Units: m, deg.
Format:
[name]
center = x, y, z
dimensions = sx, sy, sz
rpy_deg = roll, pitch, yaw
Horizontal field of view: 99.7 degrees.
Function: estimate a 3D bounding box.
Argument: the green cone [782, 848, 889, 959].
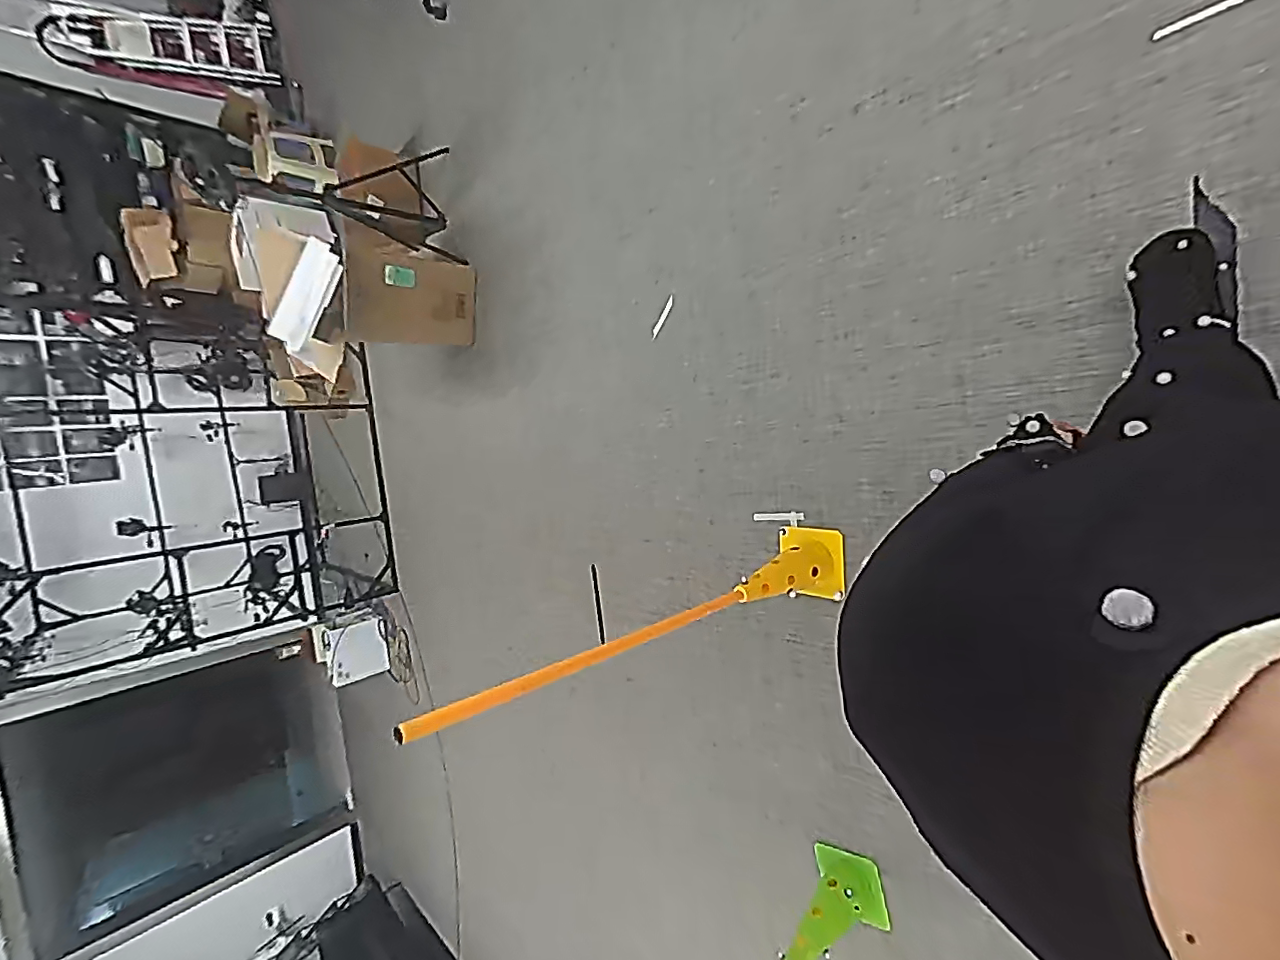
[green cone]
center = 0.497, 1.223, 1.472
dimensions = 0.200, 0.368, 0.202
rpy_deg = -17, 83, 46
